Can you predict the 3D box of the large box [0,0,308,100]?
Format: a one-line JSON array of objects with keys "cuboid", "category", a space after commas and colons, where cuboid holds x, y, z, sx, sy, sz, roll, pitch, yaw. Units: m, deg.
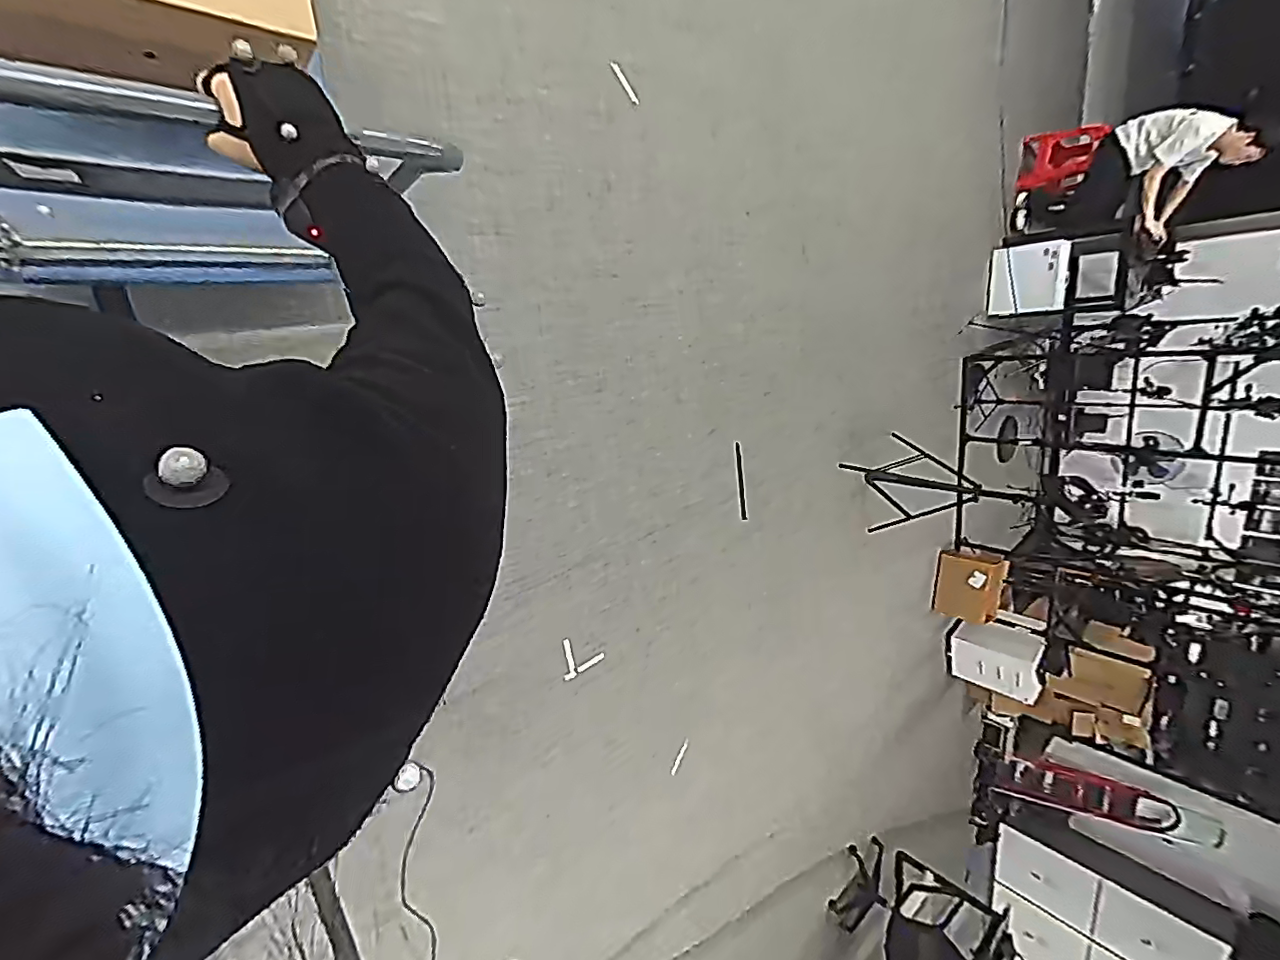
[{"cuboid": [-0.765, -0.814, 0.785, 0.408, 0.320, 0.320, -15, 107, -37], "category": "large box"}]
